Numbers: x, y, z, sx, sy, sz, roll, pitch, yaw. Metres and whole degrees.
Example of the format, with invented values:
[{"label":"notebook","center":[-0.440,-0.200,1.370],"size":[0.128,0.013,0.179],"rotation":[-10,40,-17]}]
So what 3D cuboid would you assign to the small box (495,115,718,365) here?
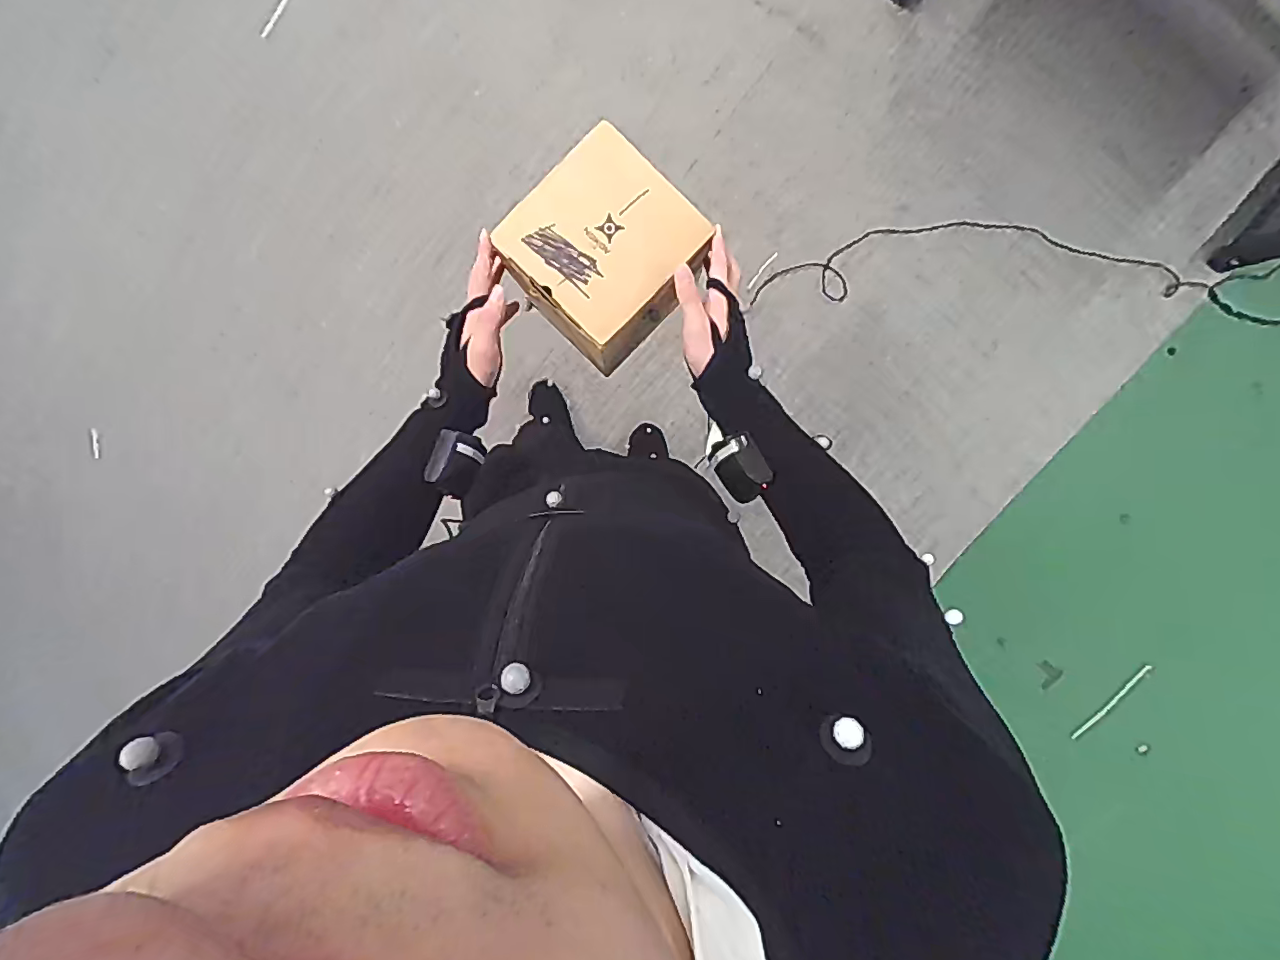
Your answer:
[{"label":"small box","center":[-0.035,-0.260,0.635],"size":[0.168,0.176,0.179],"rotation":[45,89,-2]}]

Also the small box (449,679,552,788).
[{"label":"small box","center":[-0.362,0.657,1.436],"size":[0.168,0.176,0.179],"rotation":[-39,93,8]}]
